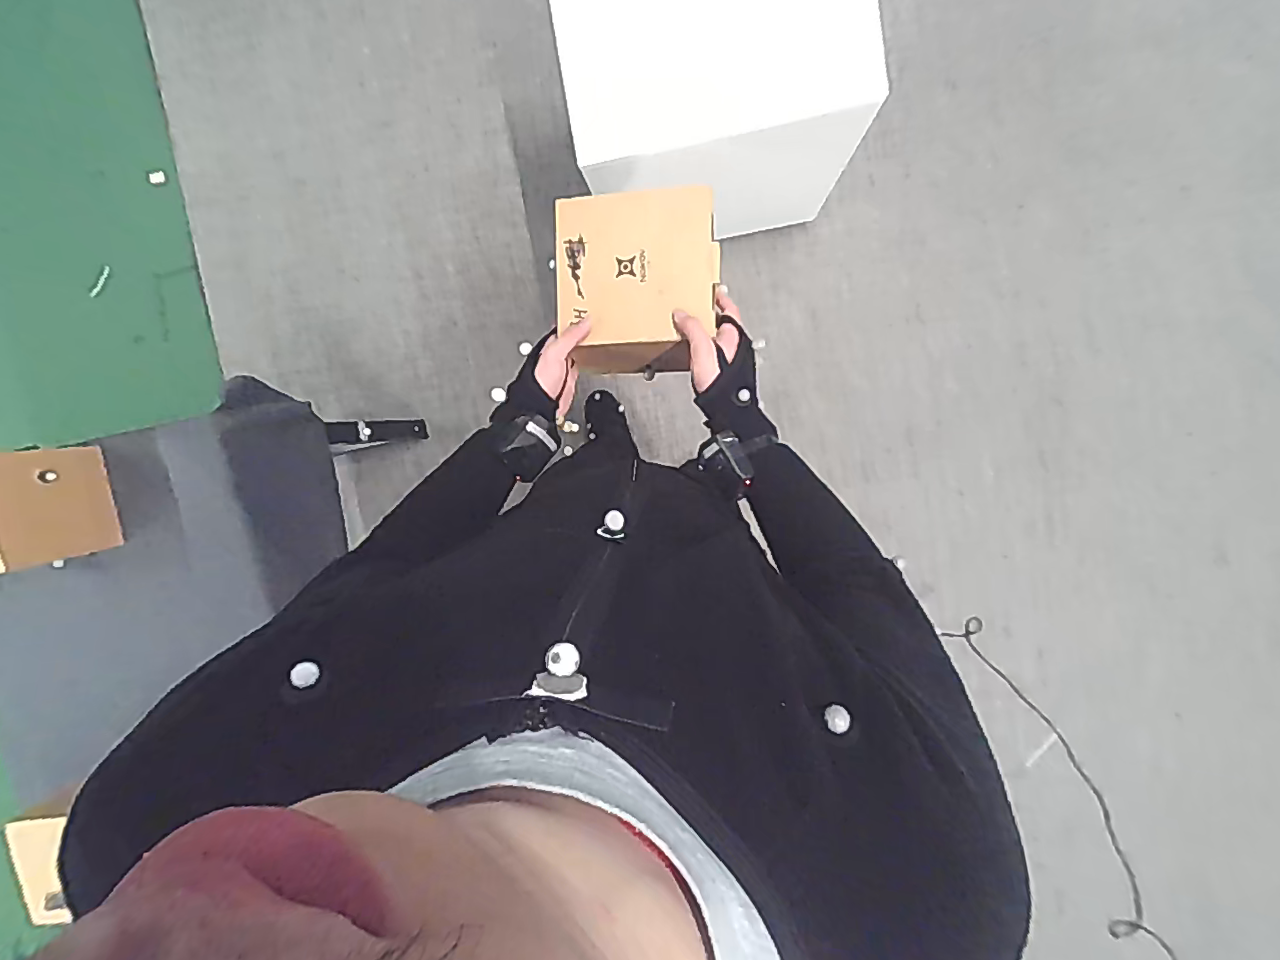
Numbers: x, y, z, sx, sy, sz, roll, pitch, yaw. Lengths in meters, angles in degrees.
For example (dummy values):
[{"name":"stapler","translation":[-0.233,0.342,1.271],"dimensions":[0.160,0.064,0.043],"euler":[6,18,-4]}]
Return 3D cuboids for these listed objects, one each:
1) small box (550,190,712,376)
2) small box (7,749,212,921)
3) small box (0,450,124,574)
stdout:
[{"name":"small box","translation":[-0.003,-0.227,0.662],"dimensions":[0.179,0.176,0.168],"euler":[0,89,7]},{"name":"small box","translation":[-0.869,0.585,0.906],"dimensions":[0.168,0.176,0.179],"euler":[-9,95,7]},{"name":"small box","translation":[-0.987,0.049,0.856],"dimensions":[0.168,0.176,0.179],"euler":[-8,97,8]}]
